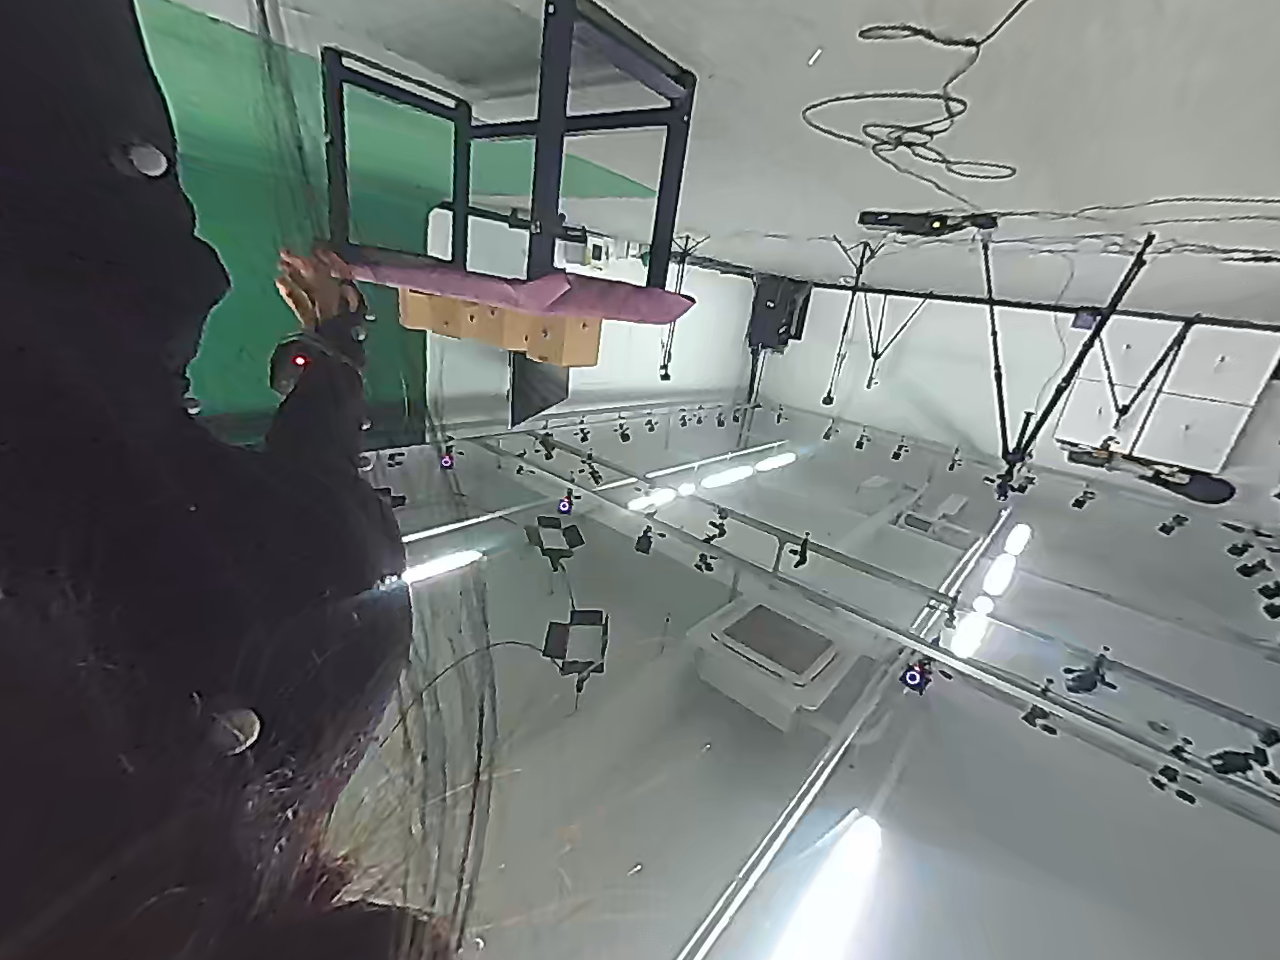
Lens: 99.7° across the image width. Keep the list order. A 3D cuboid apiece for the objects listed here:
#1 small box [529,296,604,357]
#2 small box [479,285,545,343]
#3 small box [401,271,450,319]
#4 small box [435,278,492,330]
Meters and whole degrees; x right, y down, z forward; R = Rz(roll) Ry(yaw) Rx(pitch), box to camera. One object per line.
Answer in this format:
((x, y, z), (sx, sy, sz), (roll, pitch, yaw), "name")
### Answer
((-0.237, -0.501, 1.761), (0.168, 0.176, 0.179), (22, -157, 32), "small box")
((-0.446, -0.585, 1.908), (0.168, 0.176, 0.179), (24, -156, 37), "small box")
((-0.860, -0.744, 2.176), (0.168, 0.176, 0.179), (-5, -156, -31), "small box")
((-0.654, -0.665, 2.041), (0.179, 0.176, 0.168), (20, -158, 30), "small box")
